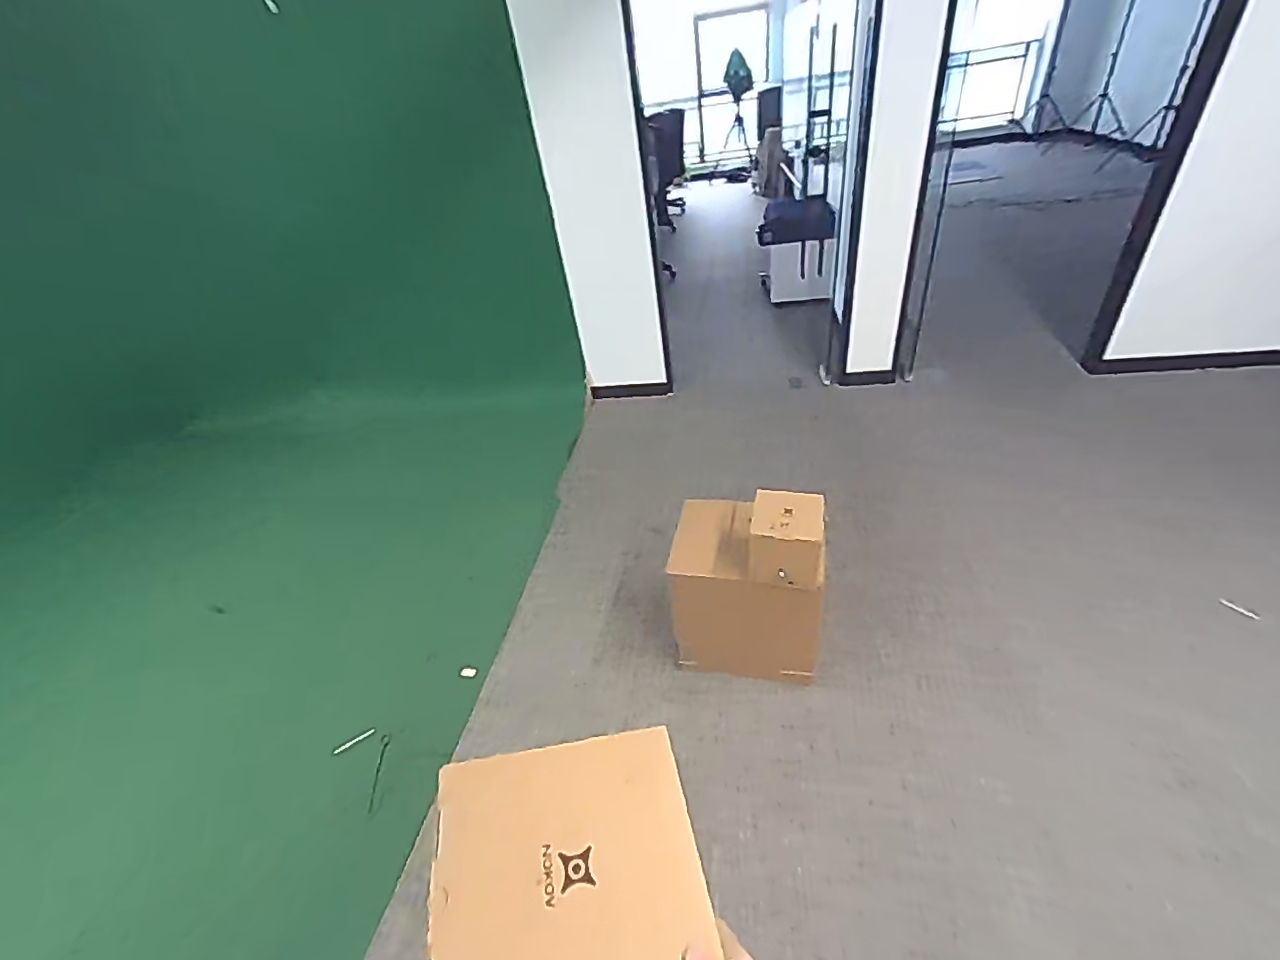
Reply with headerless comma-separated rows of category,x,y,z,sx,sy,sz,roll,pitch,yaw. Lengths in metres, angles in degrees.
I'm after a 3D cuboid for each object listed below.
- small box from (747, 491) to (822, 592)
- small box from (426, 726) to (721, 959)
small box,0.360,0.151,1.353,0.168,0.176,0.179,4,38,17
small box,-0.053,0.317,0.412,0.179,0.176,0.168,-5,40,-10
